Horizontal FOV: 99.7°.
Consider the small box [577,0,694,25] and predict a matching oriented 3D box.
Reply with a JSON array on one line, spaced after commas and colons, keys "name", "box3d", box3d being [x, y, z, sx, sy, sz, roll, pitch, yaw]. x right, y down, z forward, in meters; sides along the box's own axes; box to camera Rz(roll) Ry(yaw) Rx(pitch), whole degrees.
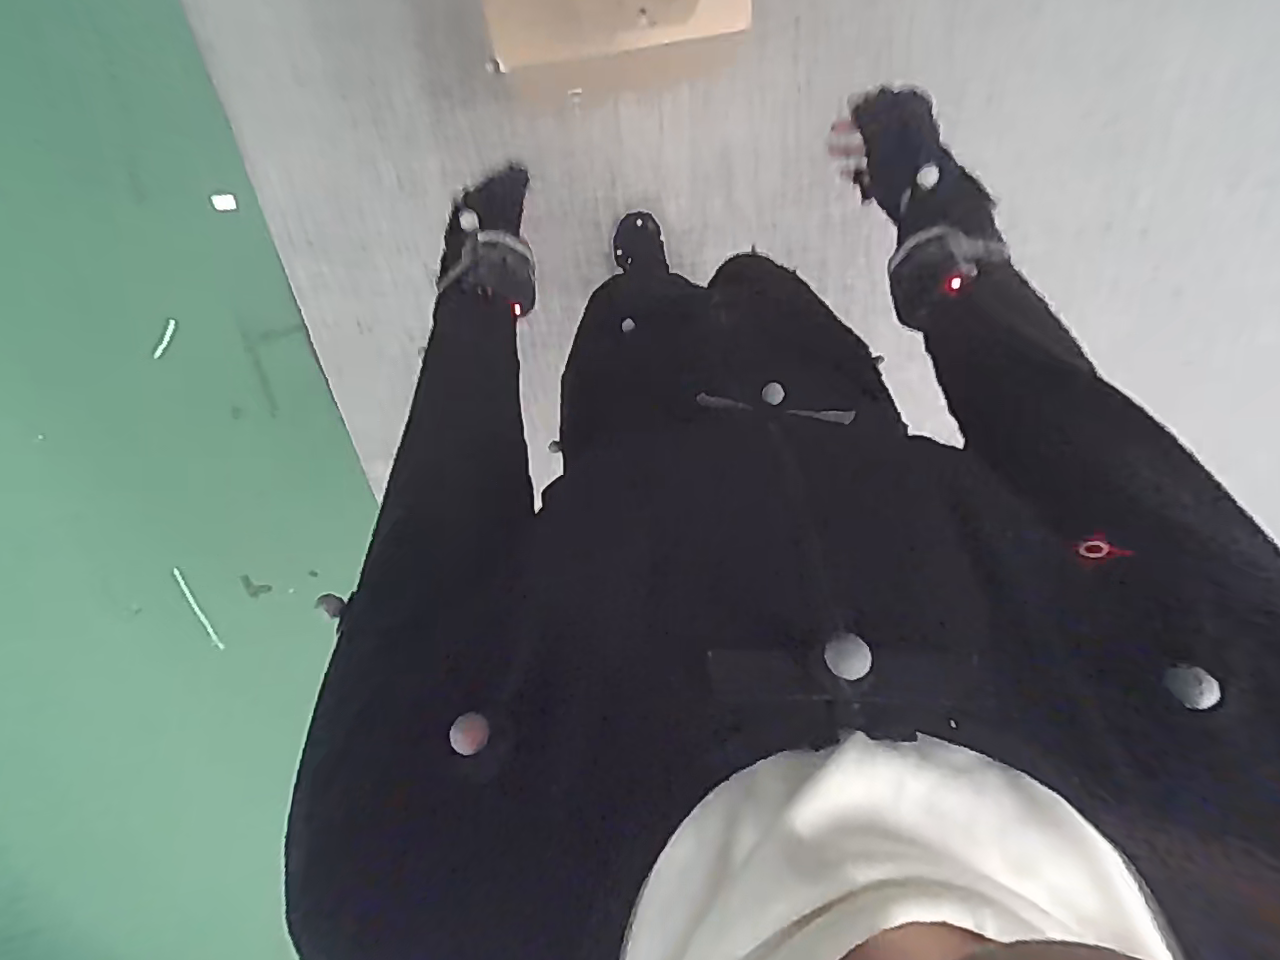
[{"name": "small box", "box3d": [-0.008, -0.733, 0.715, 0.168, 0.176, 0.179, -6, 118, 1]}]
